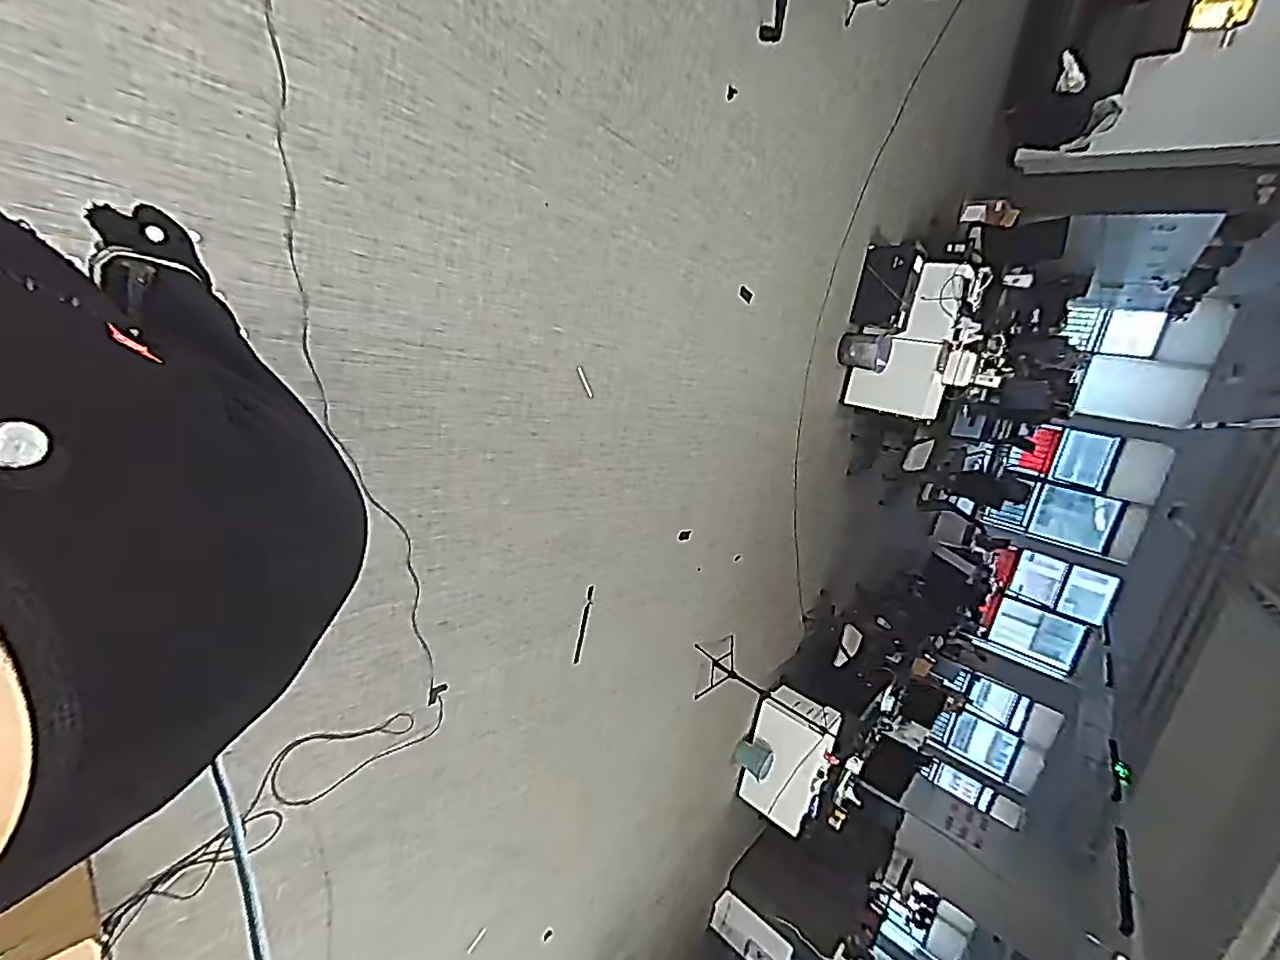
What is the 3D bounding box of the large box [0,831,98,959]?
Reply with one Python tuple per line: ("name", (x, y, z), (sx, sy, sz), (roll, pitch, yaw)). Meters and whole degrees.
("large box", (-1.363, 1.012, 1.058), (0.408, 0.320, 0.320), (-6, 110, -51))
